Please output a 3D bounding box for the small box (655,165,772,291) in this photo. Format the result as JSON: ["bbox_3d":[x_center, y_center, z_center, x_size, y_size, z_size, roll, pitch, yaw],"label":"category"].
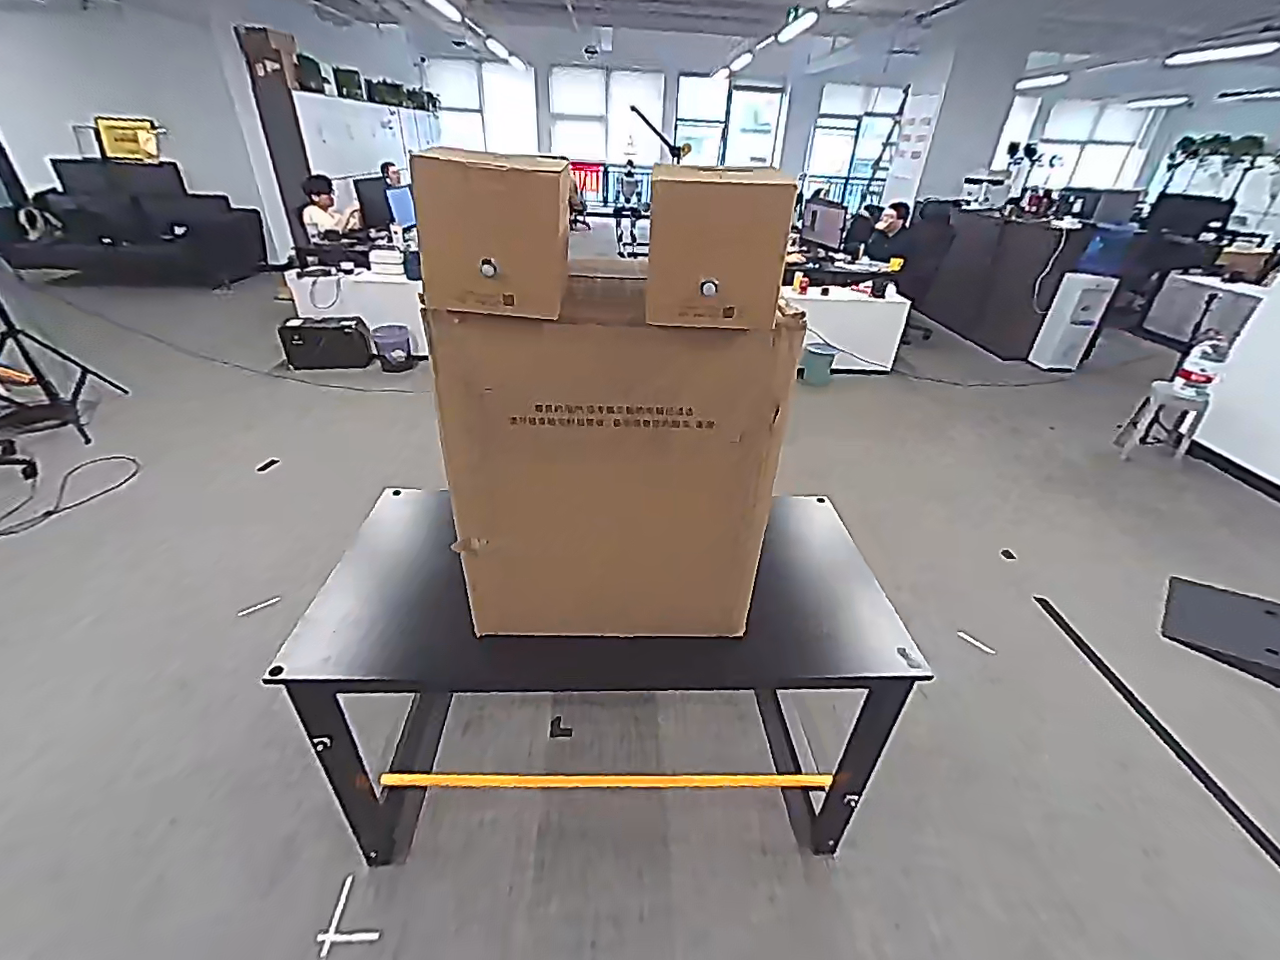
[{"bbox_3d":[0.109,-0.417,0.889,0.168,0.176,0.179,0,31,0],"label":"small box"}]
